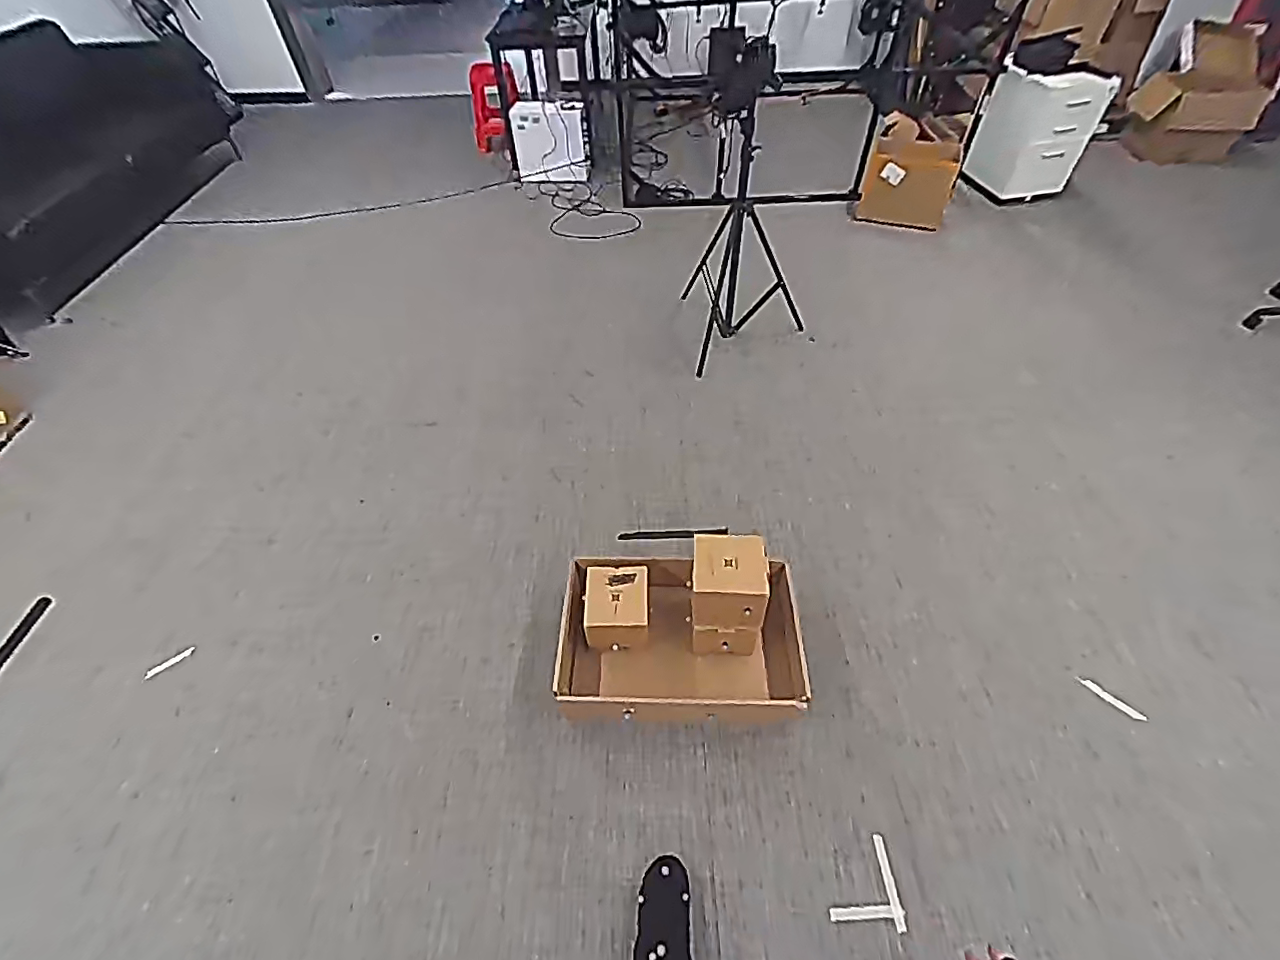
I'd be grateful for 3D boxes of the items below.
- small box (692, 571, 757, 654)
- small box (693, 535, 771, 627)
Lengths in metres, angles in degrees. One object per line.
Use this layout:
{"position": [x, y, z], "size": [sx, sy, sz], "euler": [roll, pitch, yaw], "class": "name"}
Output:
{"position": [0.227, 0.363, 1.472], "size": [0.168, 0.176, 0.179], "euler": [-1, 52, 6], "class": "small box"}
{"position": [0.223, 0.254, 1.348], "size": [0.179, 0.176, 0.168], "euler": [0, 49, 5], "class": "small box"}
